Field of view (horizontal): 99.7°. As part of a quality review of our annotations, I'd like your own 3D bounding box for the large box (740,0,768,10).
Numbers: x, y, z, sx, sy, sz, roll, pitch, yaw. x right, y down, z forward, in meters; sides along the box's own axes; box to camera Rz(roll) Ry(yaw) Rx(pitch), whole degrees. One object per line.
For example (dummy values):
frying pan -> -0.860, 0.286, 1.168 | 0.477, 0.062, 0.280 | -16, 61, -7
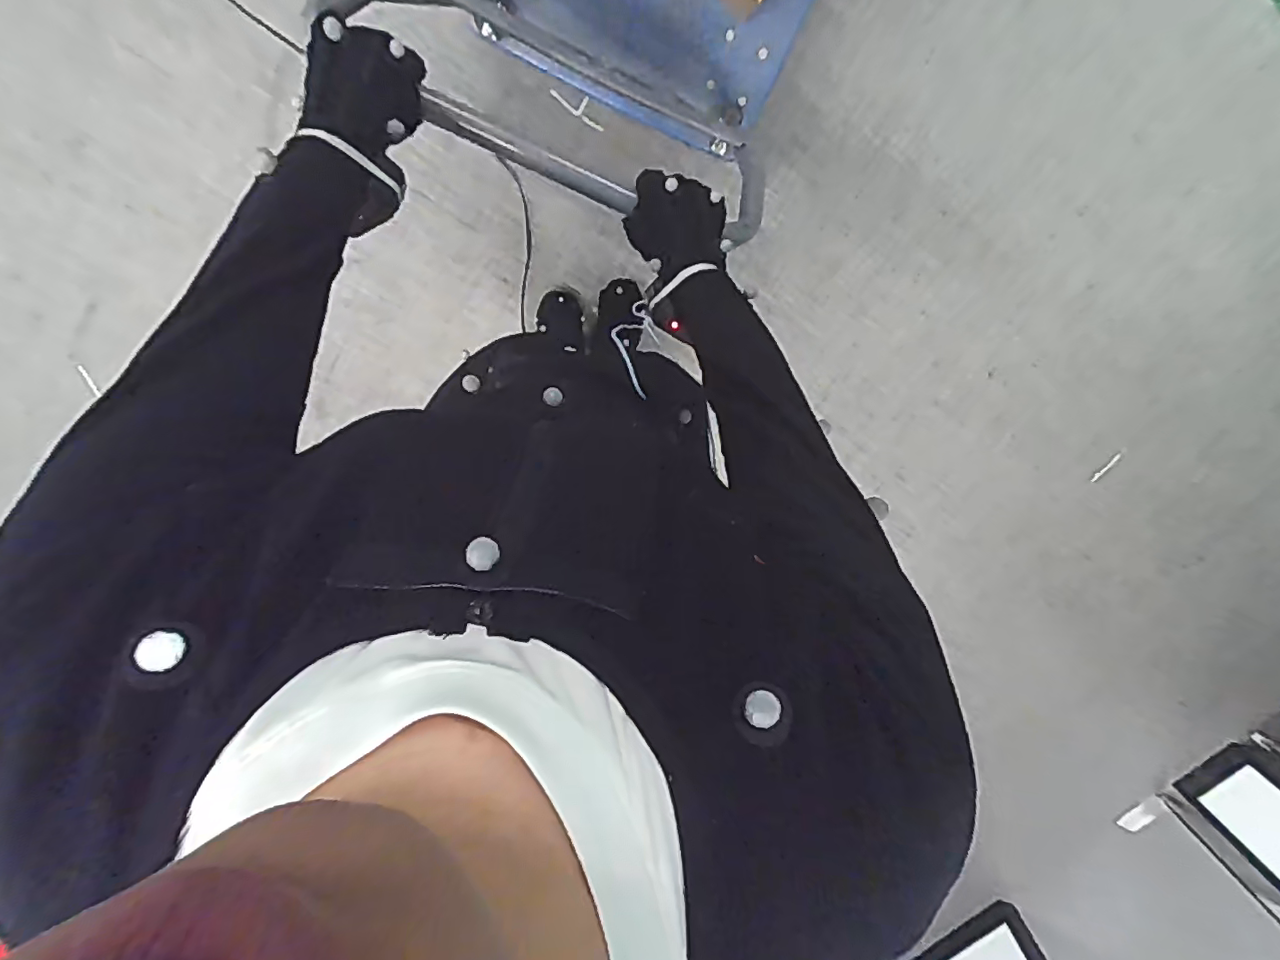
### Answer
large box -> 0.126, -0.945, 0.718 | 0.408, 0.320, 0.320 | 35, 122, -19
